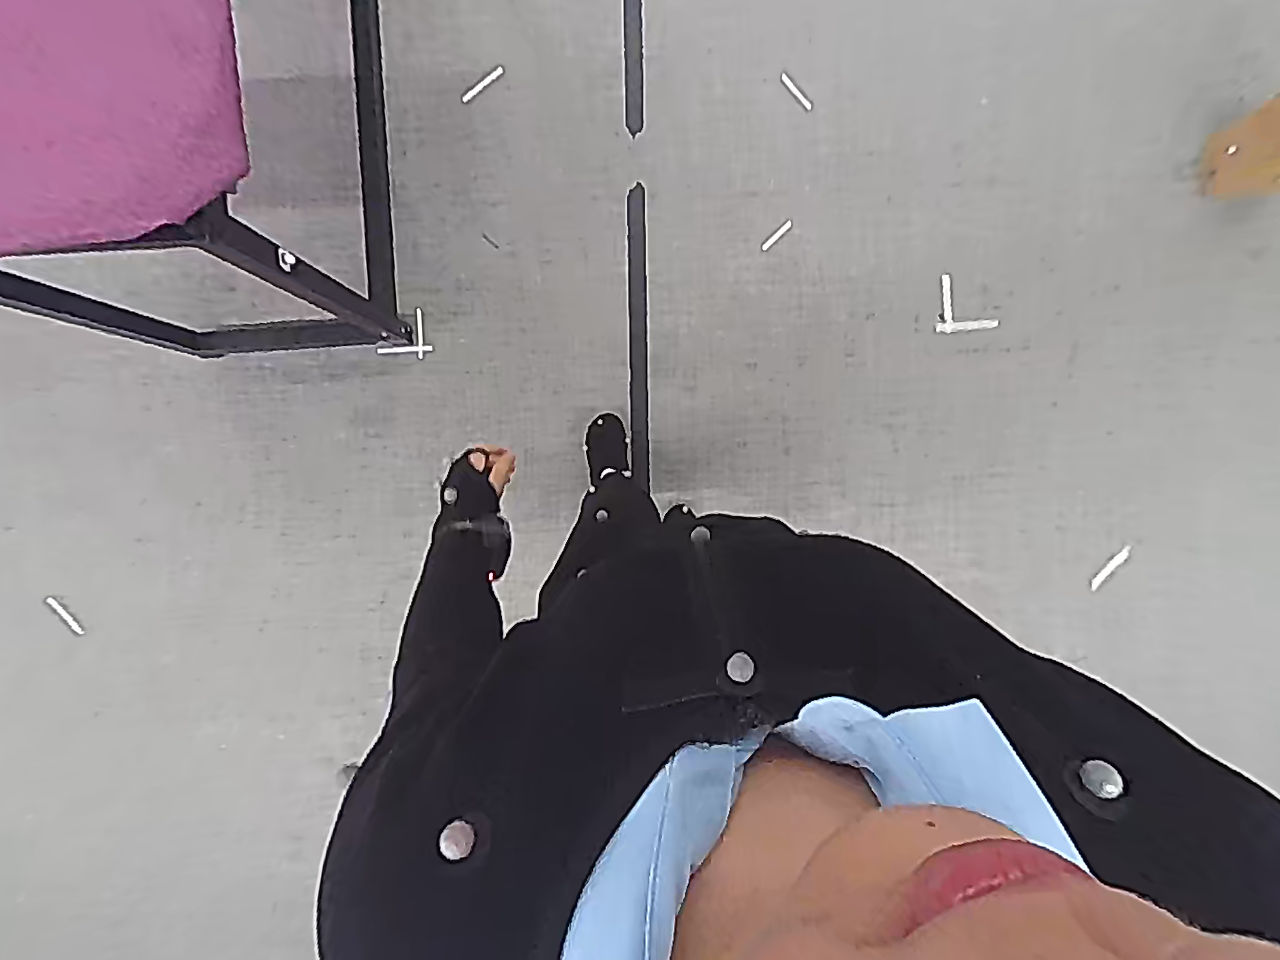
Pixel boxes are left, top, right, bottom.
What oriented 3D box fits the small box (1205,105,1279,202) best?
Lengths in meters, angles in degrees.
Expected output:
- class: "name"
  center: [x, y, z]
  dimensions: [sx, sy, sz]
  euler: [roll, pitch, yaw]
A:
- class: "small box"
  center: [1.648, -0.850, 1.416]
  dimensions: [0.179, 0.176, 0.168]
  euler: [1, 91, -1]
